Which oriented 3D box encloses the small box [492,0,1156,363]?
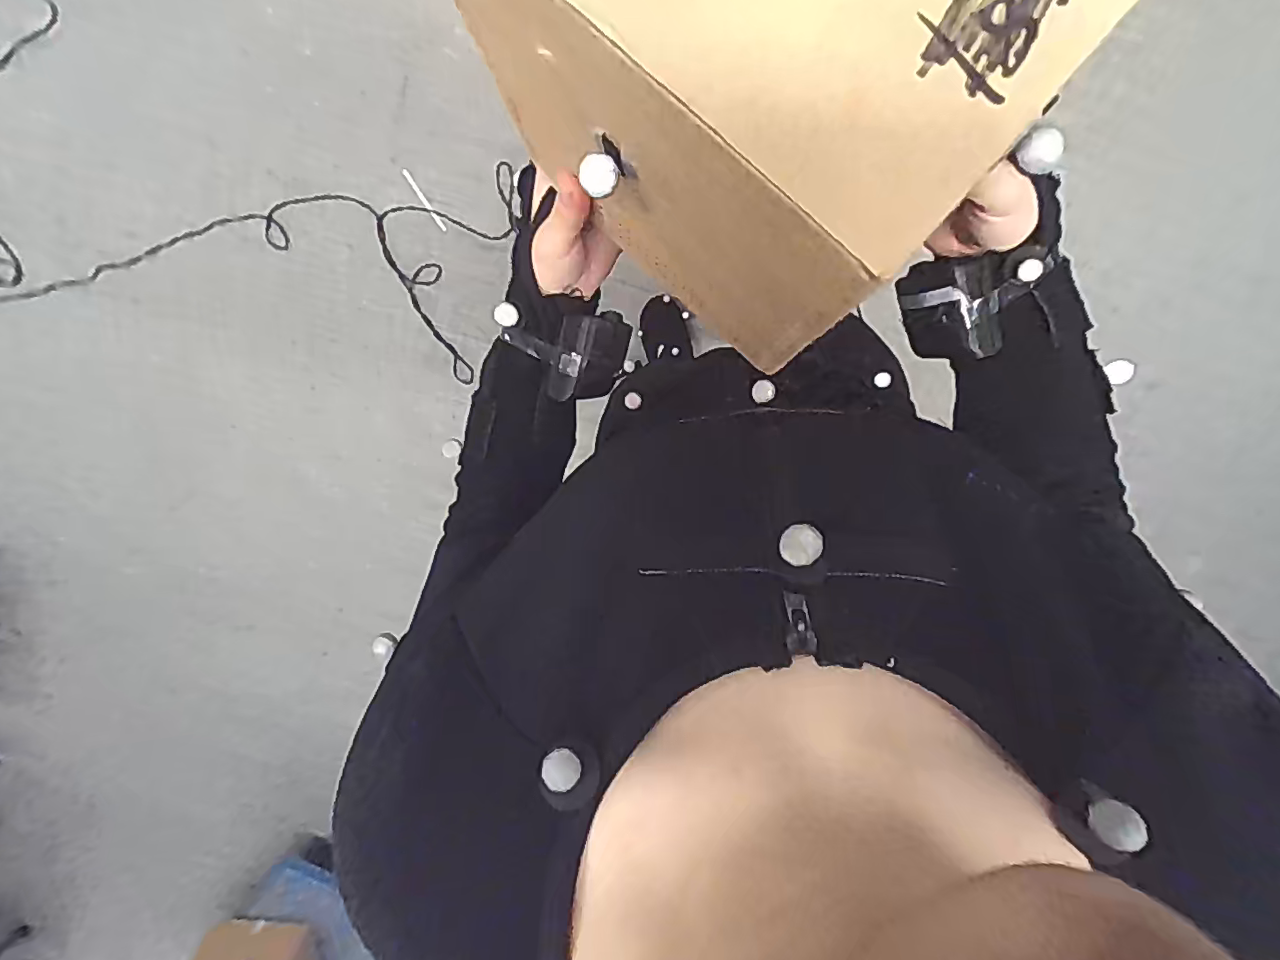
[{"bbox_3d":[0.062,-0.169,0.222,0.179,0.176,0.168,41,95,2],"label":"small box"}]
